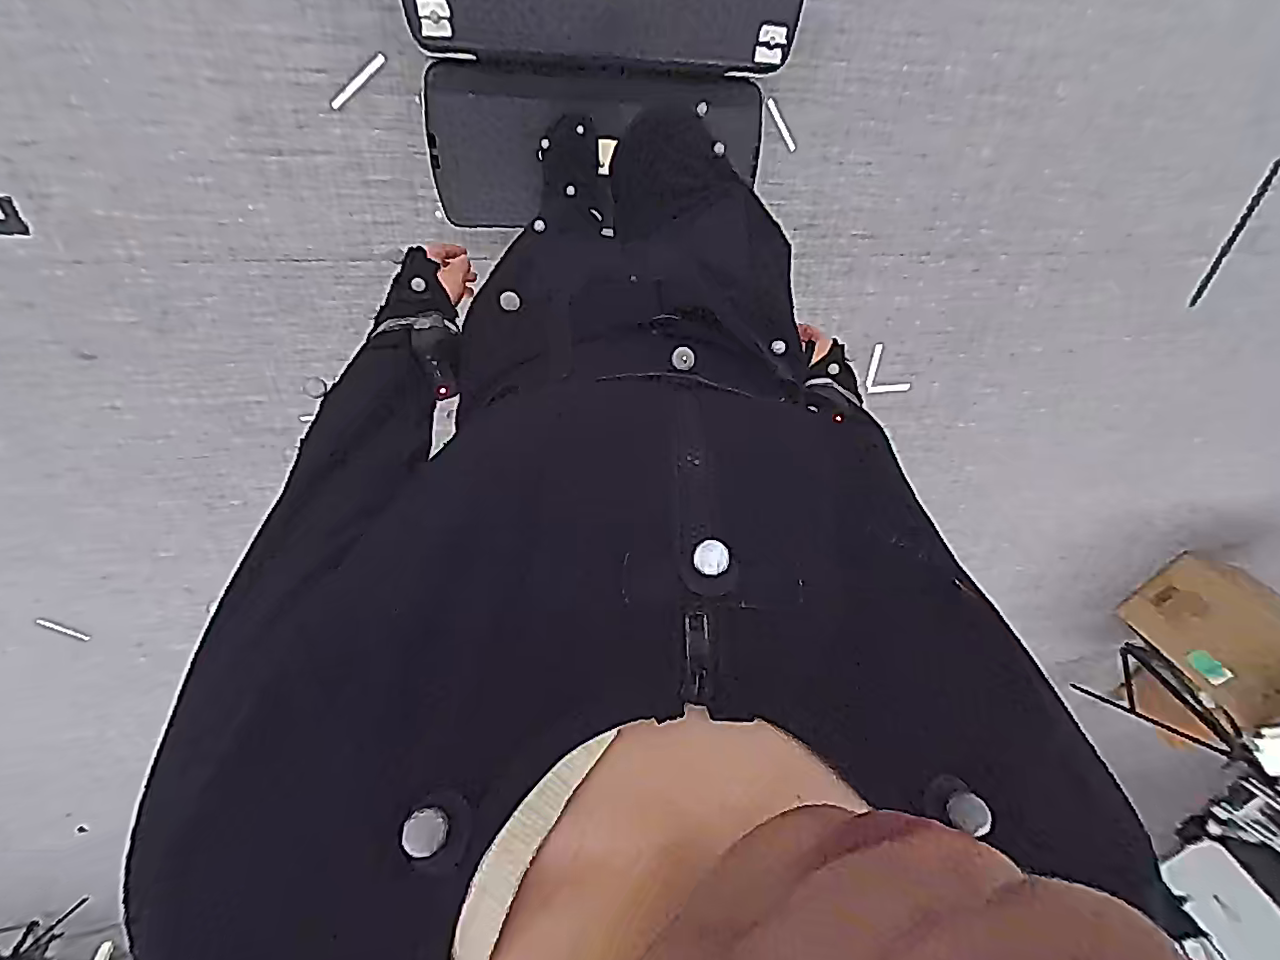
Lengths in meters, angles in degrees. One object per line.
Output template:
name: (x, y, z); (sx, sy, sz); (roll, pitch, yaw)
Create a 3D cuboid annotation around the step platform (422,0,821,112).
step platform: (-0.029, -0.854, 0.942); (0.684, 0.204, 0.286); (0, 124, -12)
